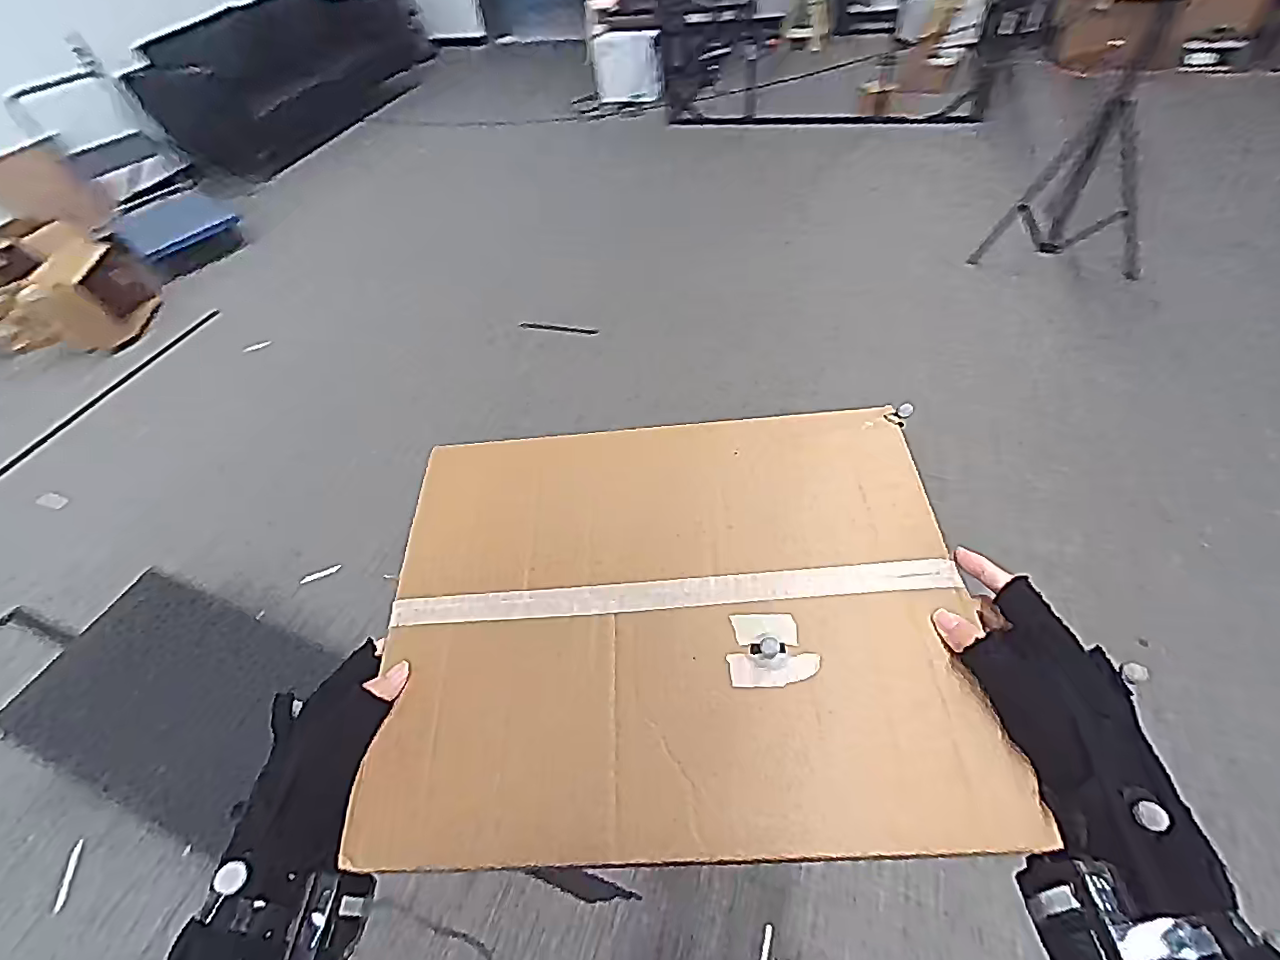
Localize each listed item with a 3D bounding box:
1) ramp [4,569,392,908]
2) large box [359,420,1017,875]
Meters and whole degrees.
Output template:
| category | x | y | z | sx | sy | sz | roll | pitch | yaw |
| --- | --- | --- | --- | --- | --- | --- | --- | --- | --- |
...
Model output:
| category | x | y | z | sx | sy | sz | roll | pitch | yaw |
| --- | --- | --- | --- | --- | --- | --- | --- | --- | --- |
| ramp | -1.086 | 0.616 | 1.433 | 0.991 | 0.206 | 0.509 | 13 | 53 | 18 |
| large box | 0.028 | 0.176 | 0.526 | 0.408 | 0.320 | 0.320 | -5 | 56 | 3 |
